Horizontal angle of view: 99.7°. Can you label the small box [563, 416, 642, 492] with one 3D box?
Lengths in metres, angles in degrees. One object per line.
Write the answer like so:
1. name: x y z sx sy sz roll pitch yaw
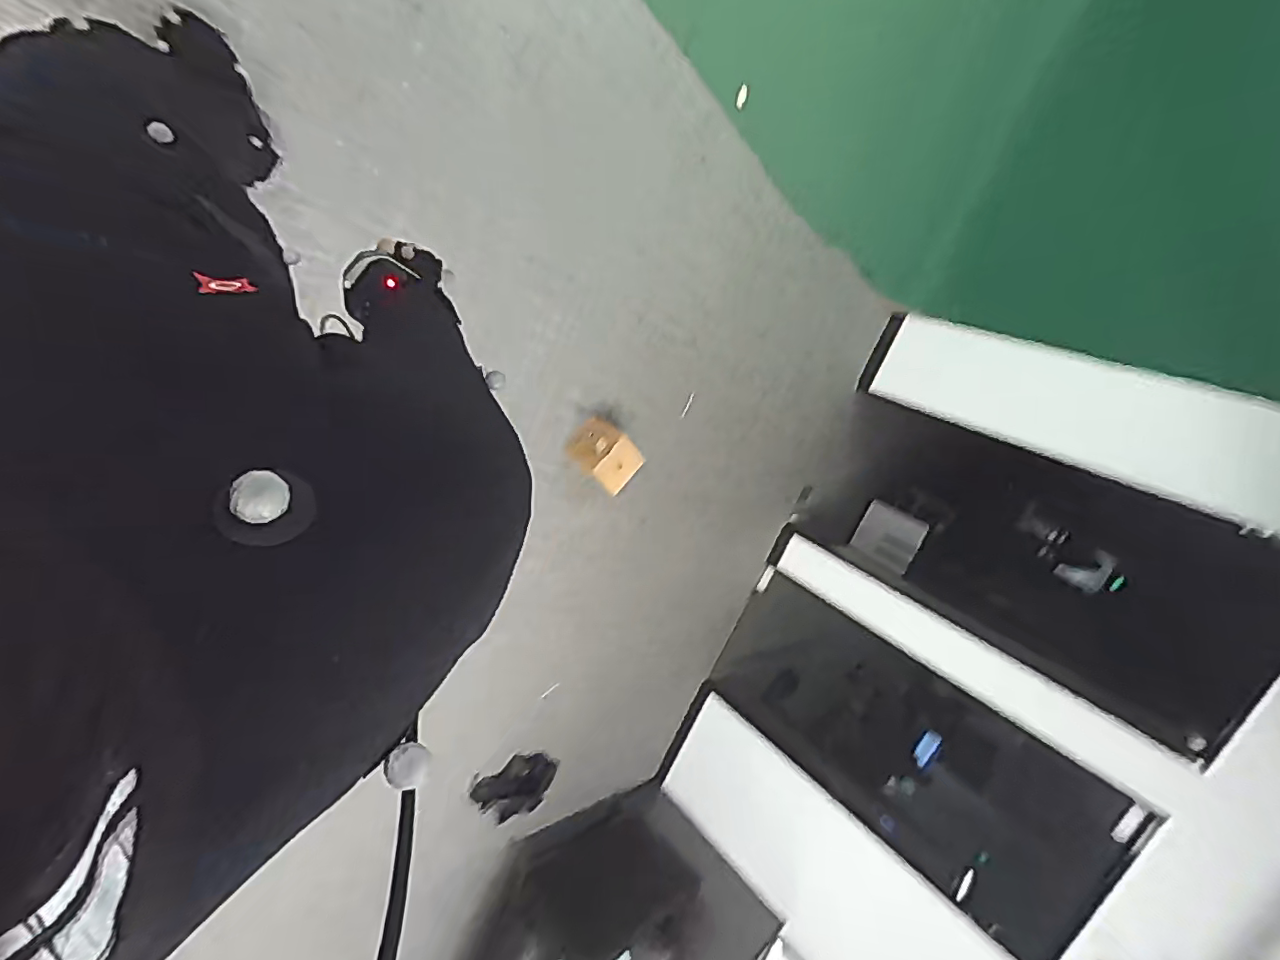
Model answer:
1. small box: -0.131 -0.094 1.872 0.168 0.176 0.179 -50 142 -9
